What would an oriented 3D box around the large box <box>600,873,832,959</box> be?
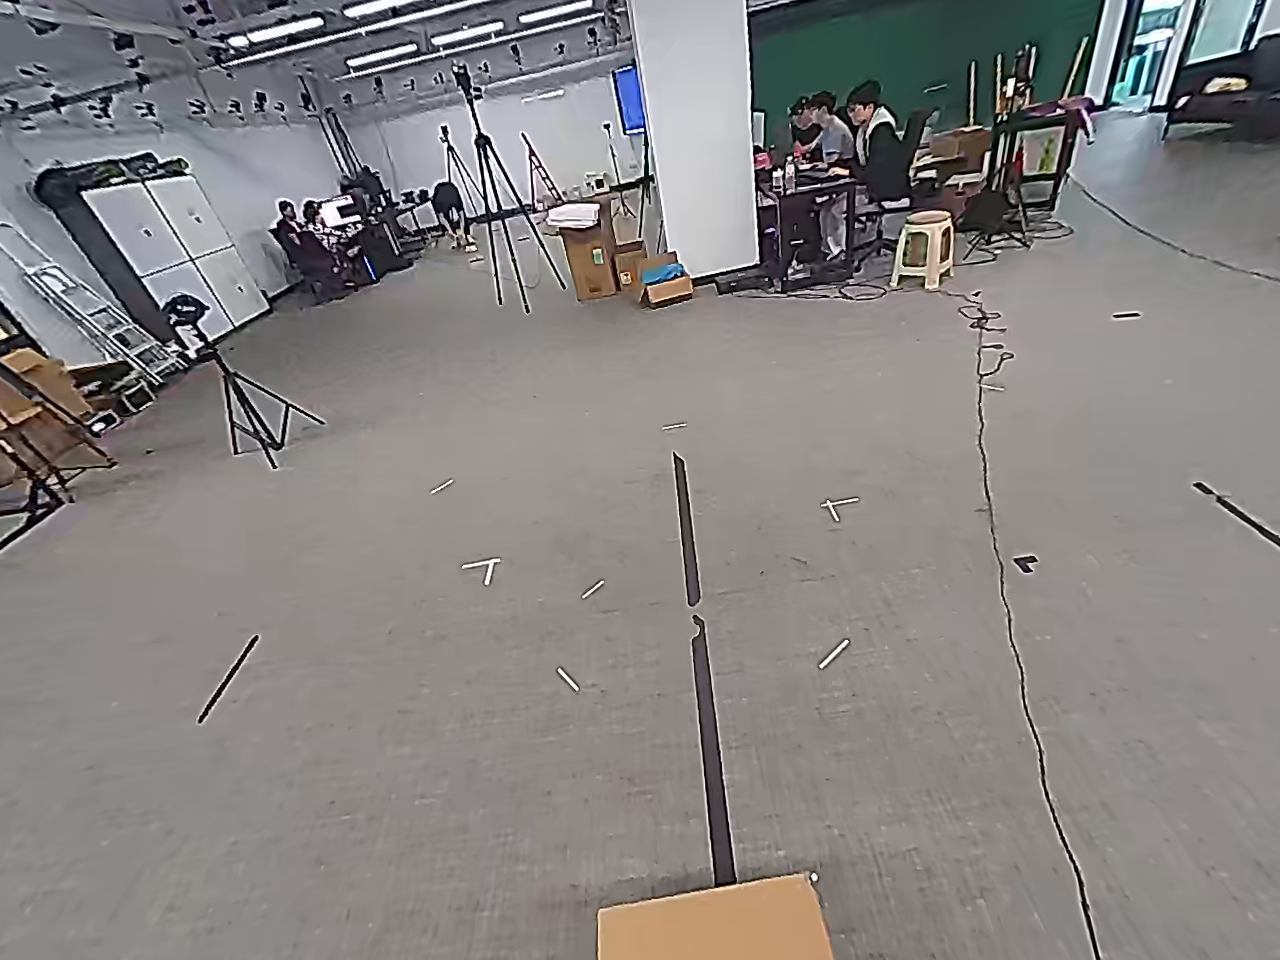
[{"bbox_3d":[0.158,0.982,0.972,0.408,0.320,0.320,-12,34,2],"label":"large box"}]
